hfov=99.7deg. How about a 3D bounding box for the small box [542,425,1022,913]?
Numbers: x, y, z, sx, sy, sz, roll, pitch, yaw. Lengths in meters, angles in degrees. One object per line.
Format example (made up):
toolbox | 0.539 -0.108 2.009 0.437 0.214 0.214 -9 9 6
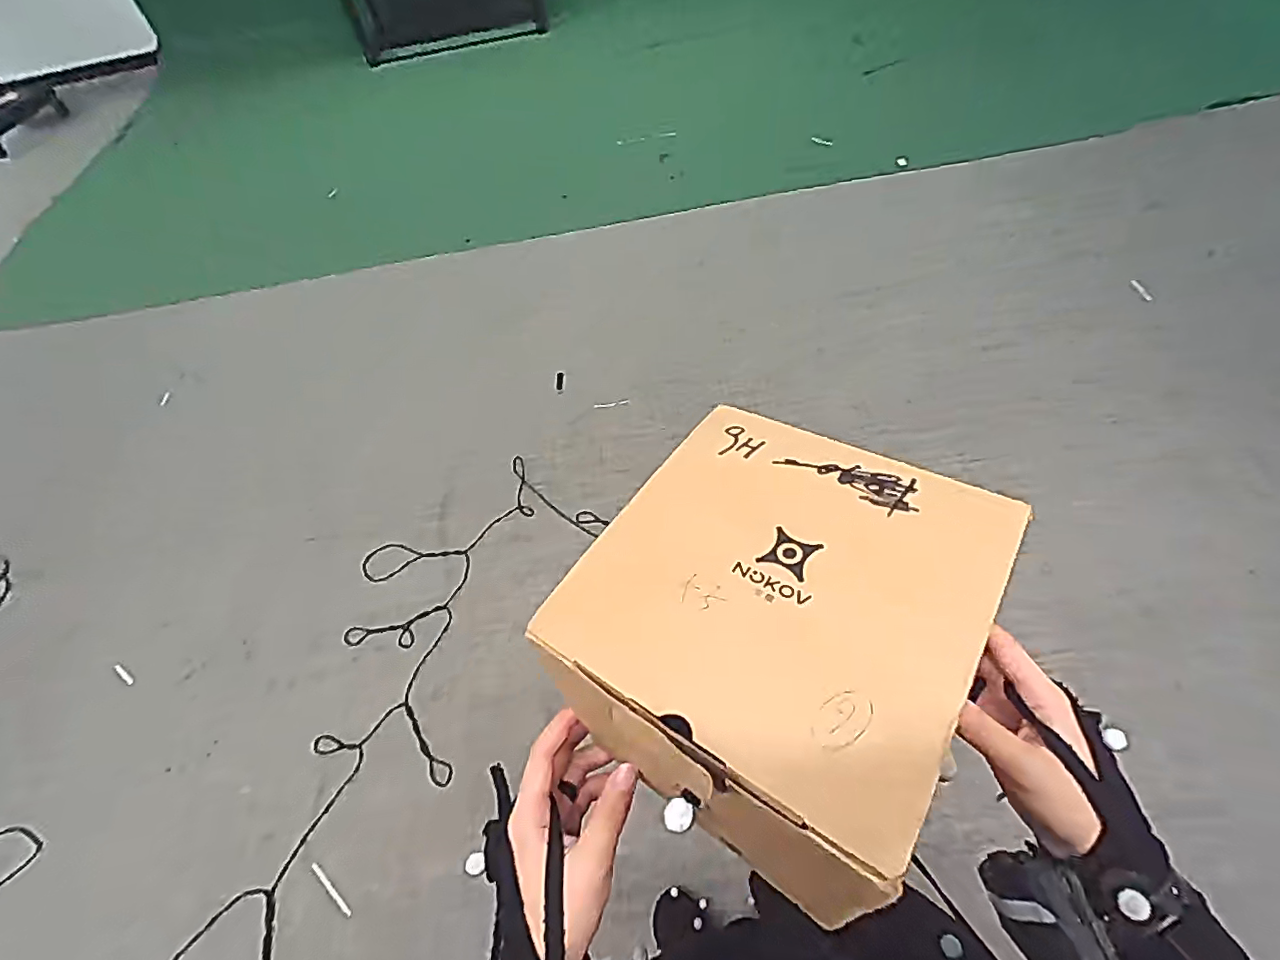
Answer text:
small box | 0.079 0.104 0.311 0.168 0.176 0.179 24 57 29
